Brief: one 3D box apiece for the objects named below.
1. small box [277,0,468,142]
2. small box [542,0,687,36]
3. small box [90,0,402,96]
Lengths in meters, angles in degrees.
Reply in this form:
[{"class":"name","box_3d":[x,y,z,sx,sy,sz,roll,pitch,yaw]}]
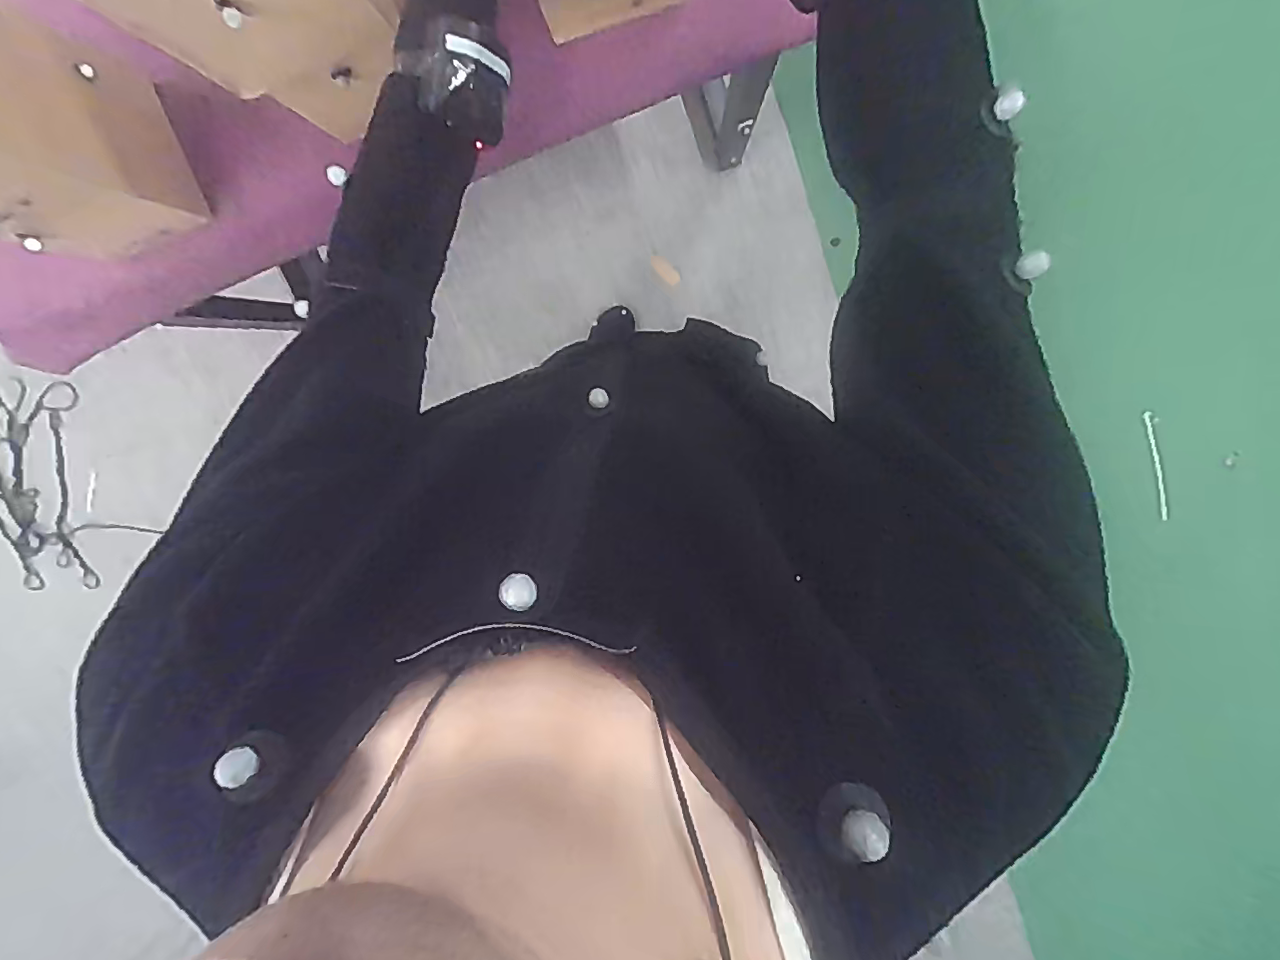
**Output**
[{"class":"small box","box_3d":[-0.316,-0.502,0.580,0.179,0.176,0.168,-17,101,6]},{"class":"small box","box_3d":[-0.043,-0.596,0.544,0.168,0.176,0.179,-13,102,7]},{"class":"small box","box_3d":[-0.329,-0.449,0.424,0.179,0.176,0.168,-18,101,8]}]
